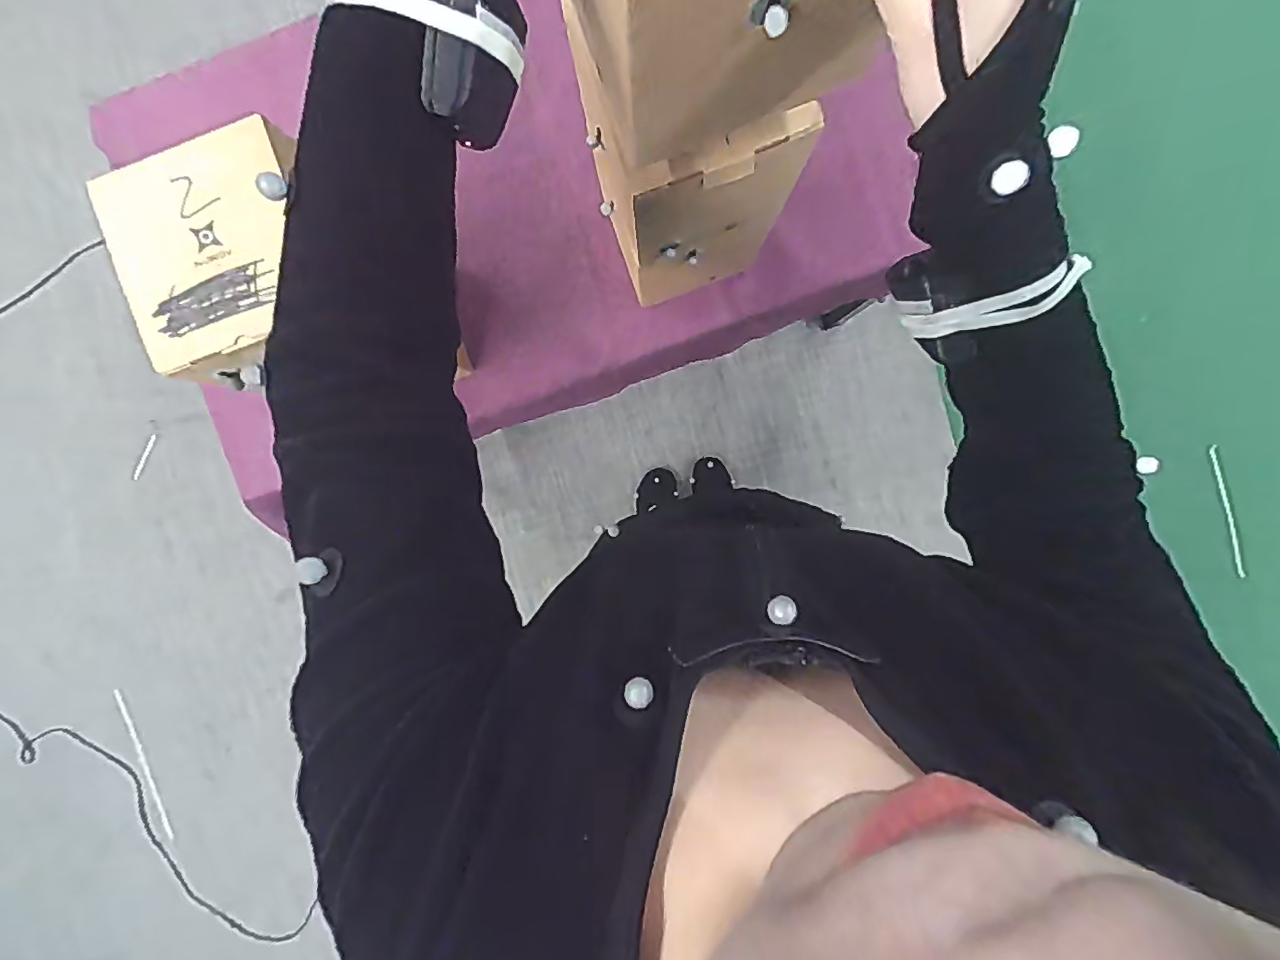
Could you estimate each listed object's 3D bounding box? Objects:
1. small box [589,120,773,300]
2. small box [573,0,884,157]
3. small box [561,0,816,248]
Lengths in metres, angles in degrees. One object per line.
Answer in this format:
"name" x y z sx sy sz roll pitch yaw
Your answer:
"small box" 0.048 -0.354 0.678 0.168 0.176 0.179 -19 92 5
"small box" 0.043 -0.324 0.308 0.179 0.176 0.168 -20 96 2
"small box" 0.043 -0.344 0.514 0.168 0.176 0.179 -20 93 3
